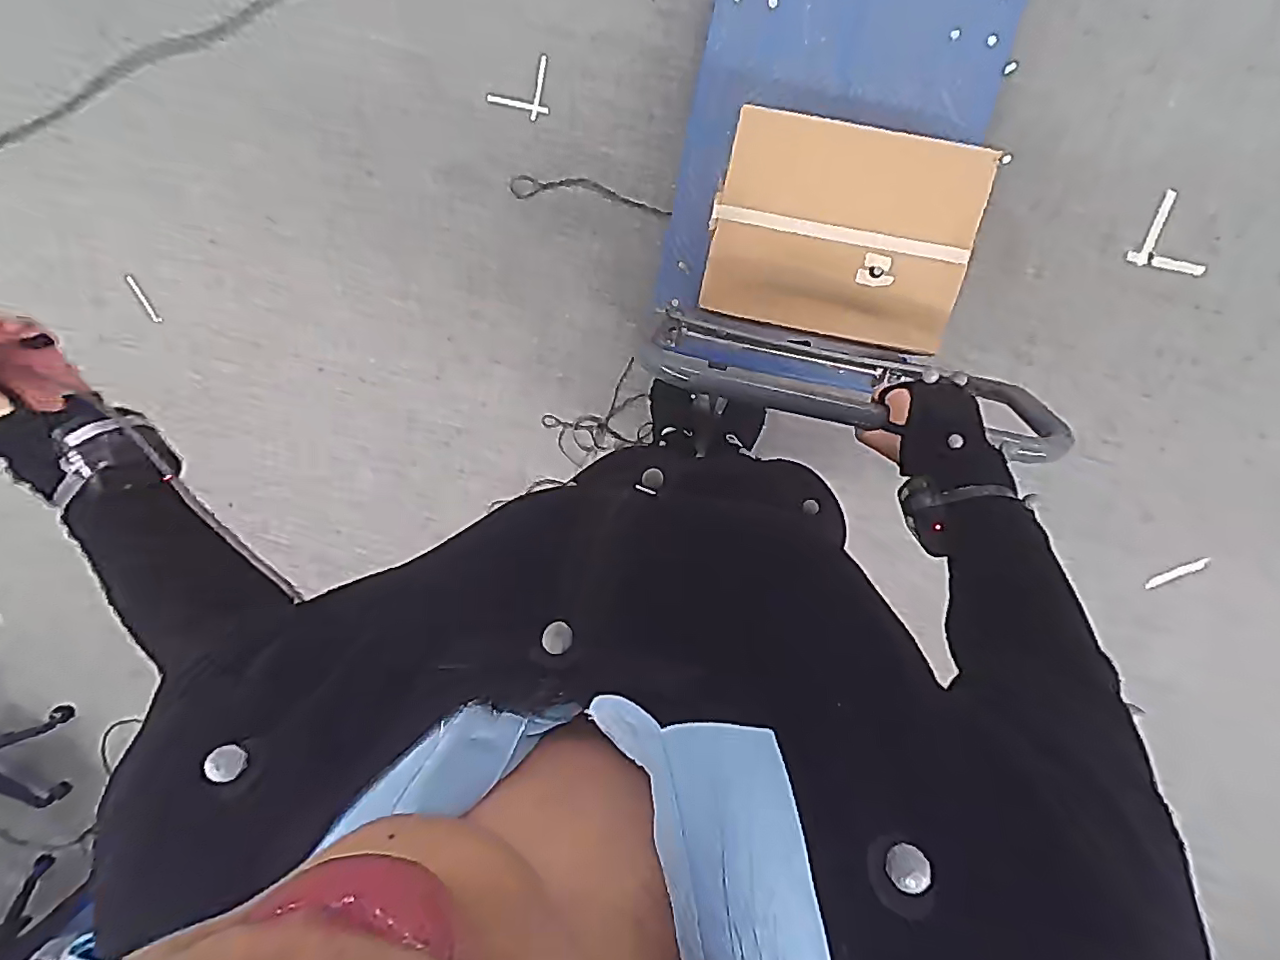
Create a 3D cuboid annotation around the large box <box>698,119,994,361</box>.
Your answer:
[{"bbox_3d":[0.334,-0.417,1.016,0.408,0.320,0.320,12,106,2],"label":"large box"}]
